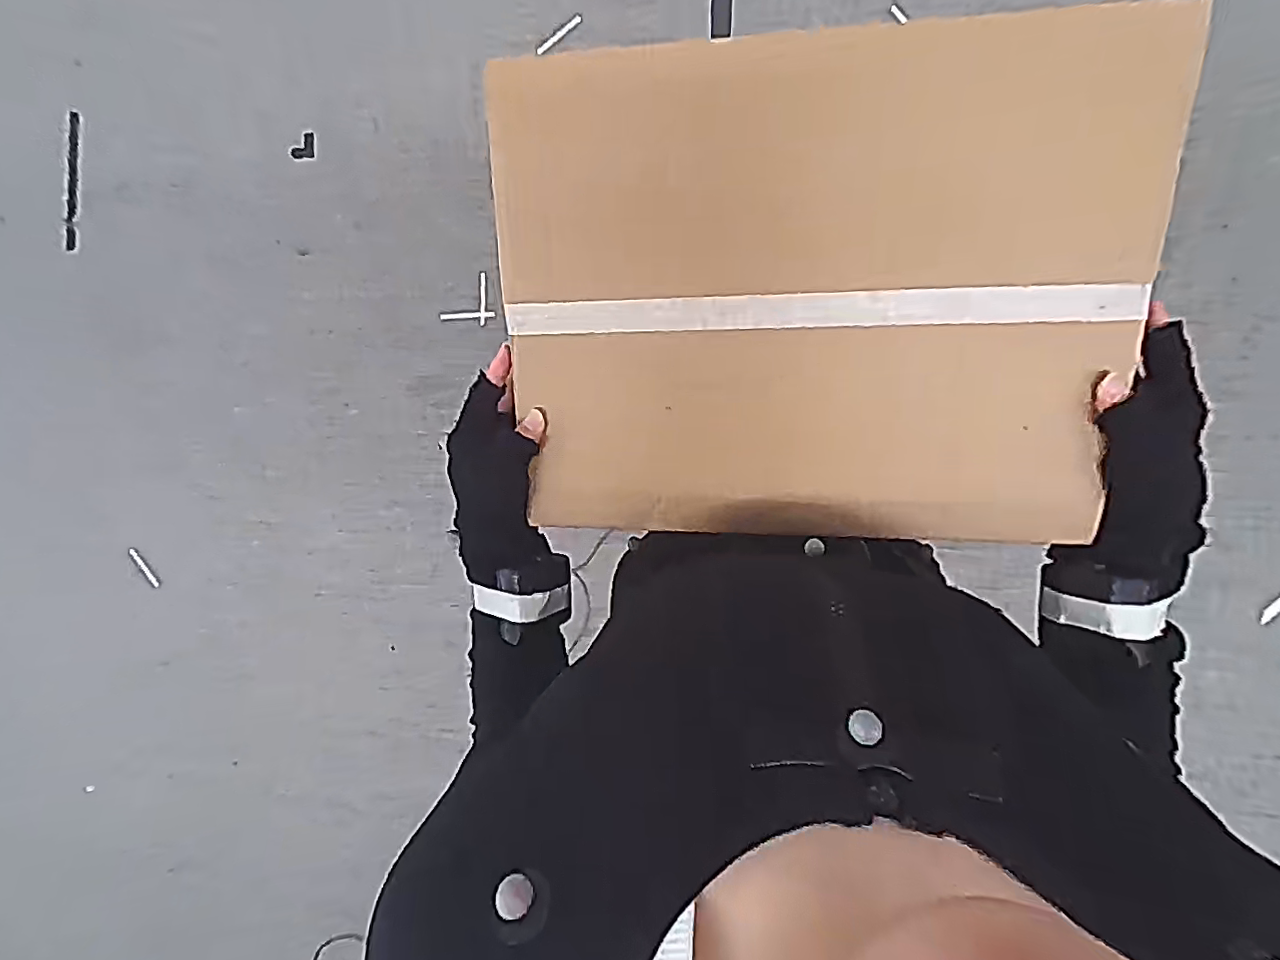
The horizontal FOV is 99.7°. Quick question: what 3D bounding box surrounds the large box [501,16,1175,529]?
[{"bbox_3d":[0.126,-0.153,0.510,0.408,0.320,0.320,1,107,8],"label":"large box"}]
